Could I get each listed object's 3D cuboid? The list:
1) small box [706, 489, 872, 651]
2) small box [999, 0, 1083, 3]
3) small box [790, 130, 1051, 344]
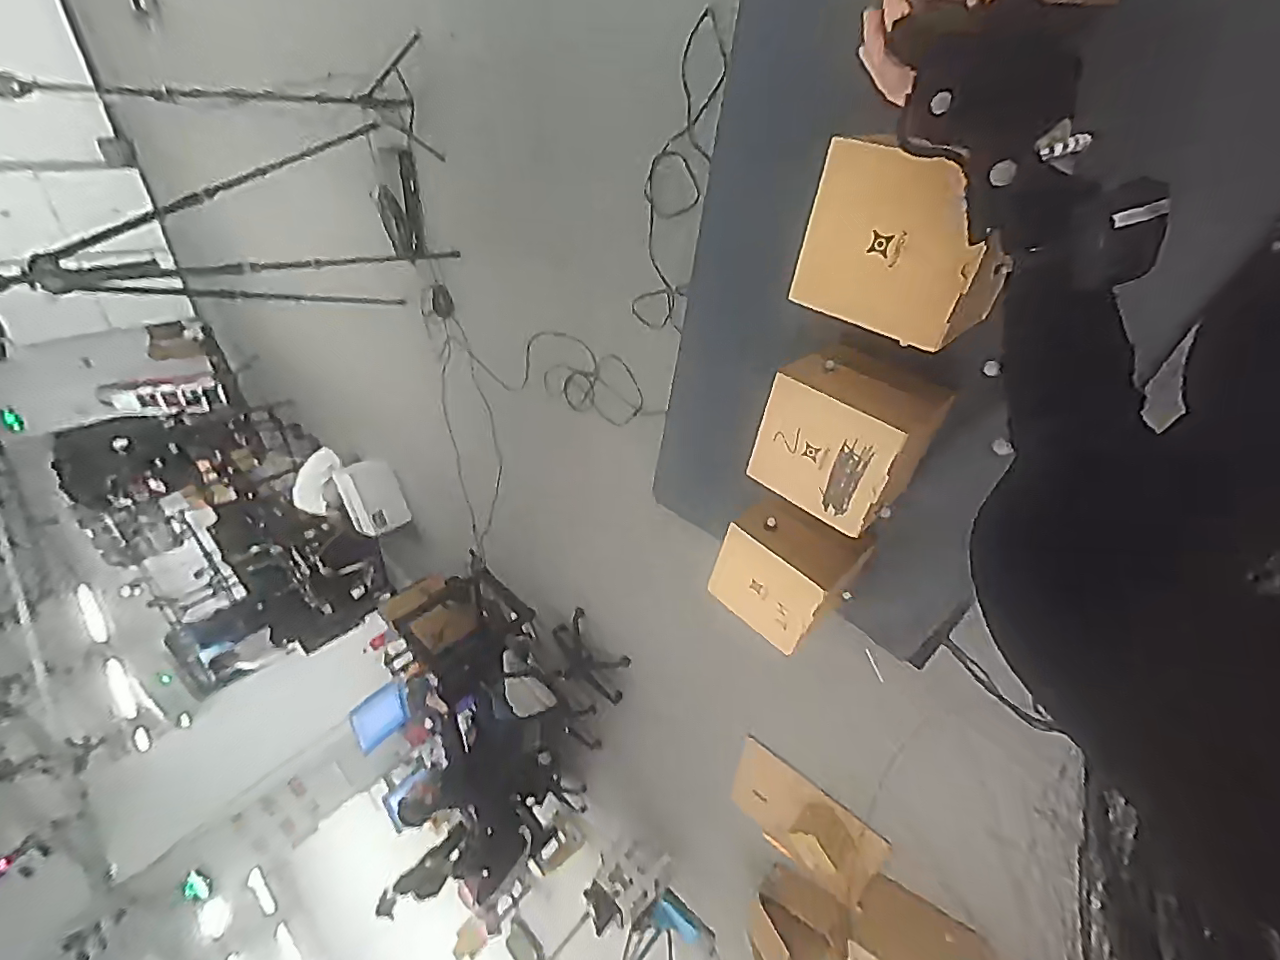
[{"bbox_3d":[0.243,0.136,0.892,0.179,0.176,0.168,37,136,28],"label":"small box"},{"bbox_3d":[0.318,-0.499,0.426,0.179,0.176,0.168,34,134,30],"label":"small box"},{"bbox_3d":[0.300,-0.270,0.591,0.179,0.176,0.168,33,133,29],"label":"small box"}]
